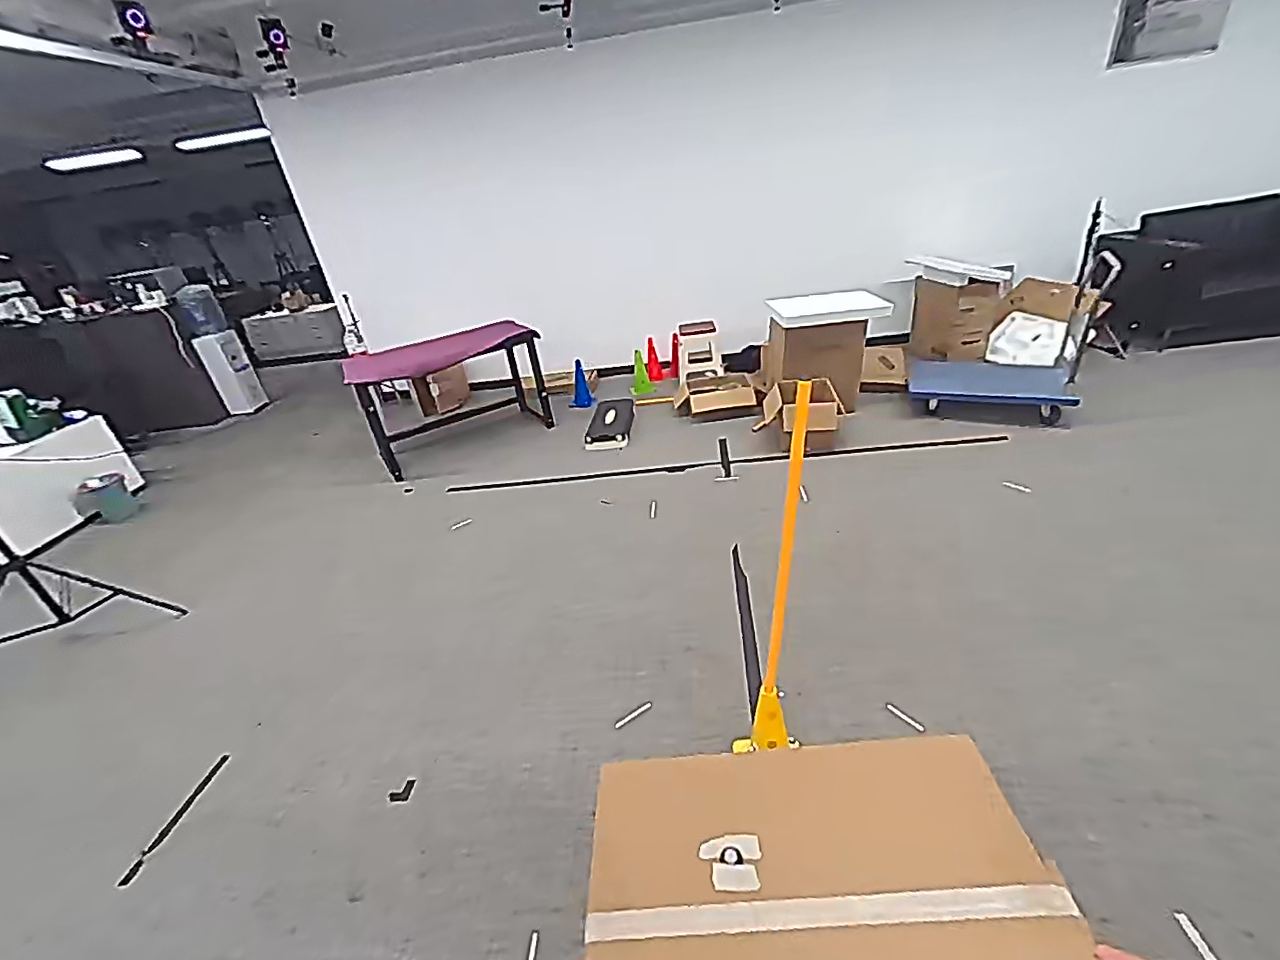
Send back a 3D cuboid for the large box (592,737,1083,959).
[{"bbox_3d":[0.180,0.512,0.545,0.408,0.320,0.320,-9,28,6],"label":"large box"}]
